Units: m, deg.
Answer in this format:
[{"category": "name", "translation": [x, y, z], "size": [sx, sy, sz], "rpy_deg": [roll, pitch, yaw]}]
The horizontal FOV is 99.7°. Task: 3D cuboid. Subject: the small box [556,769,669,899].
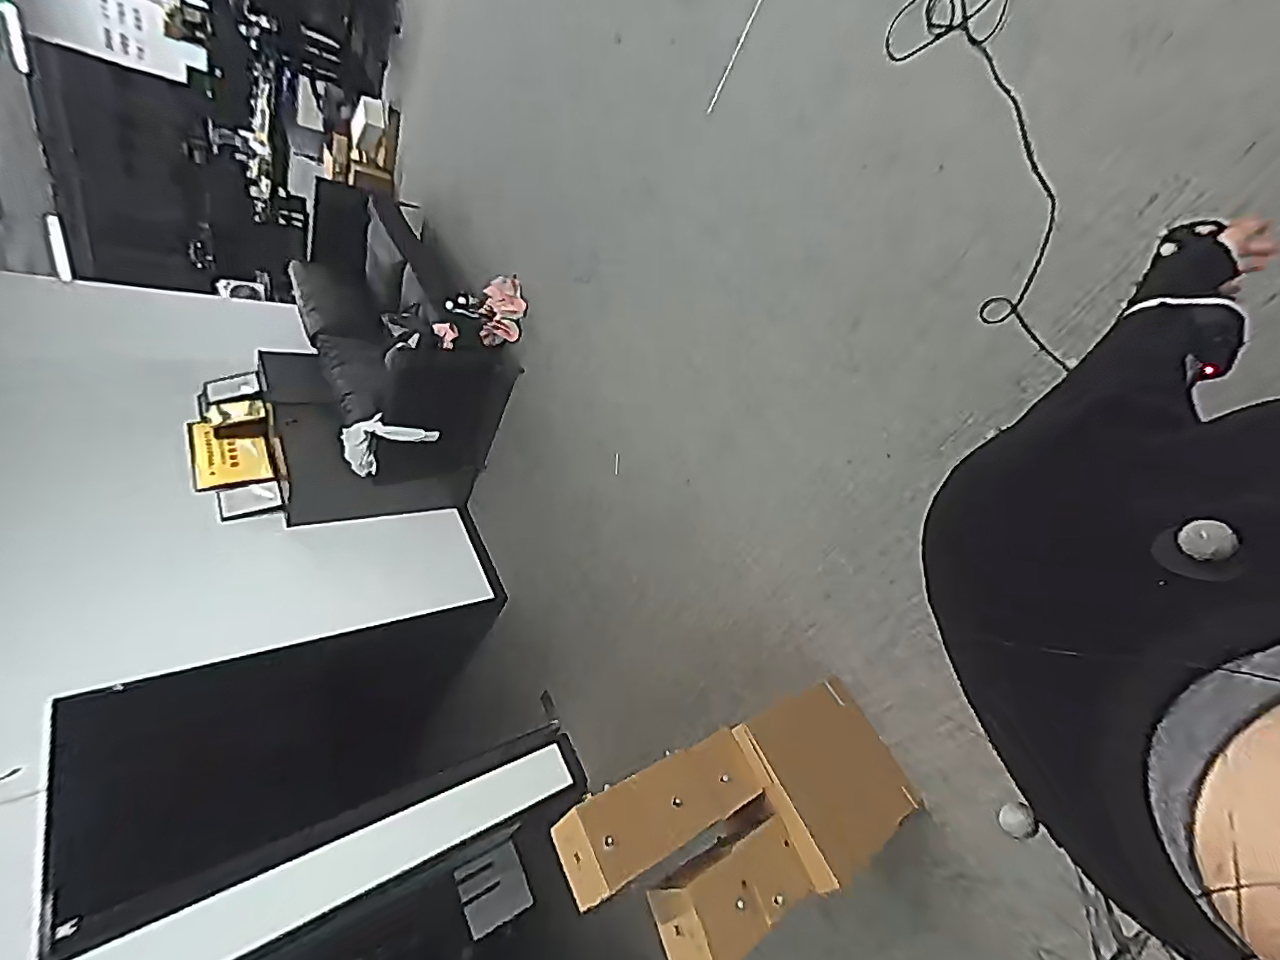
[{"category": "small box", "translation": [-0.062, 0.802, 1.235], "size": [0.179, 0.176, 0.168], "rpy_deg": [57, 132, 29]}]
